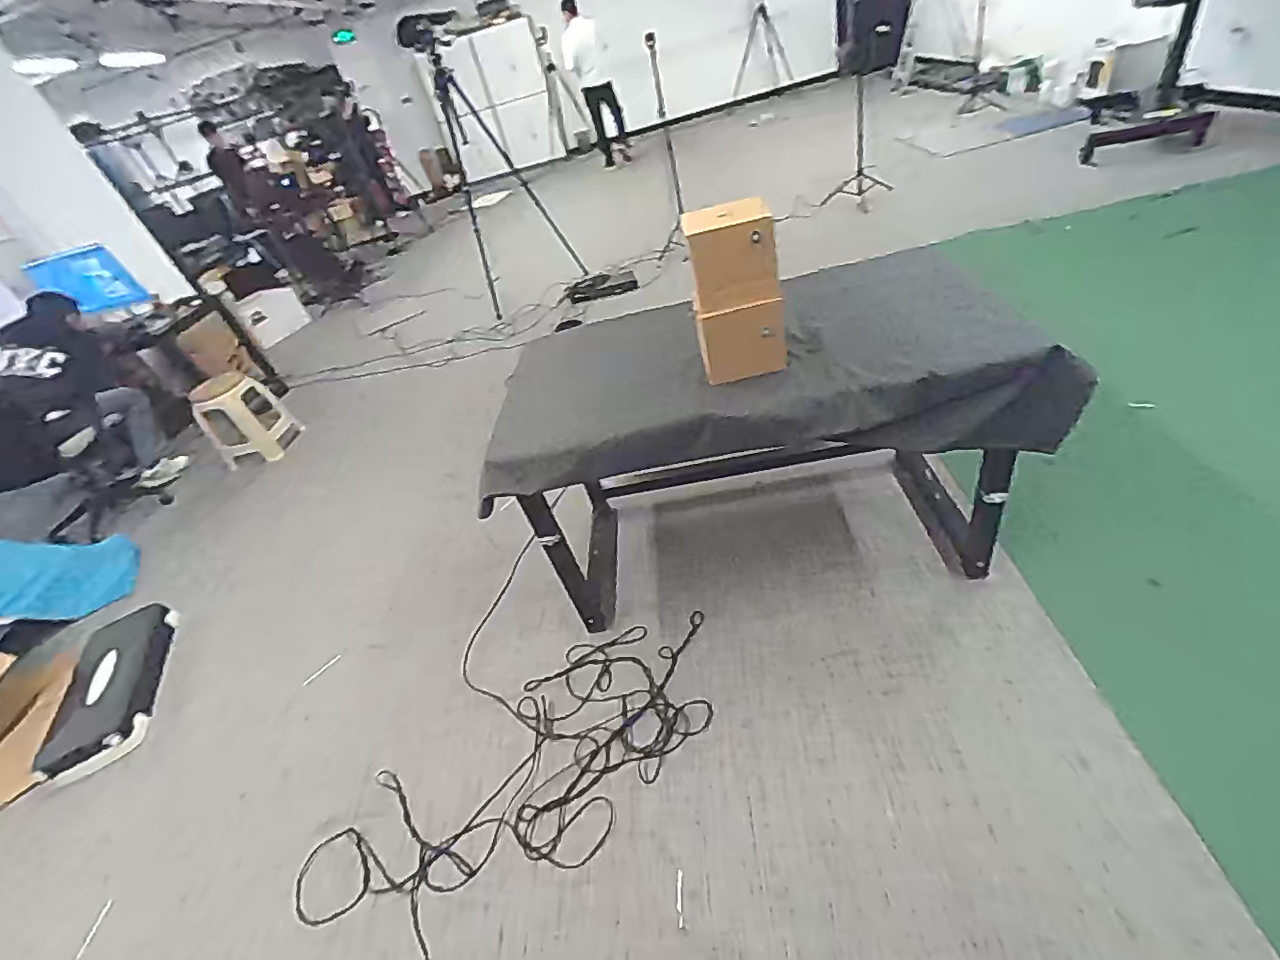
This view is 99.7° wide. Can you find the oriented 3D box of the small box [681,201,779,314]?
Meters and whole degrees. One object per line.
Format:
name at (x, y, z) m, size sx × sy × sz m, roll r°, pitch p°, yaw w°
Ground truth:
small box at (0.192, -0.474, 1.160) m, size 0.179 × 0.176 × 0.168 m, roll -10°, pitch 38°, yaw 8°
